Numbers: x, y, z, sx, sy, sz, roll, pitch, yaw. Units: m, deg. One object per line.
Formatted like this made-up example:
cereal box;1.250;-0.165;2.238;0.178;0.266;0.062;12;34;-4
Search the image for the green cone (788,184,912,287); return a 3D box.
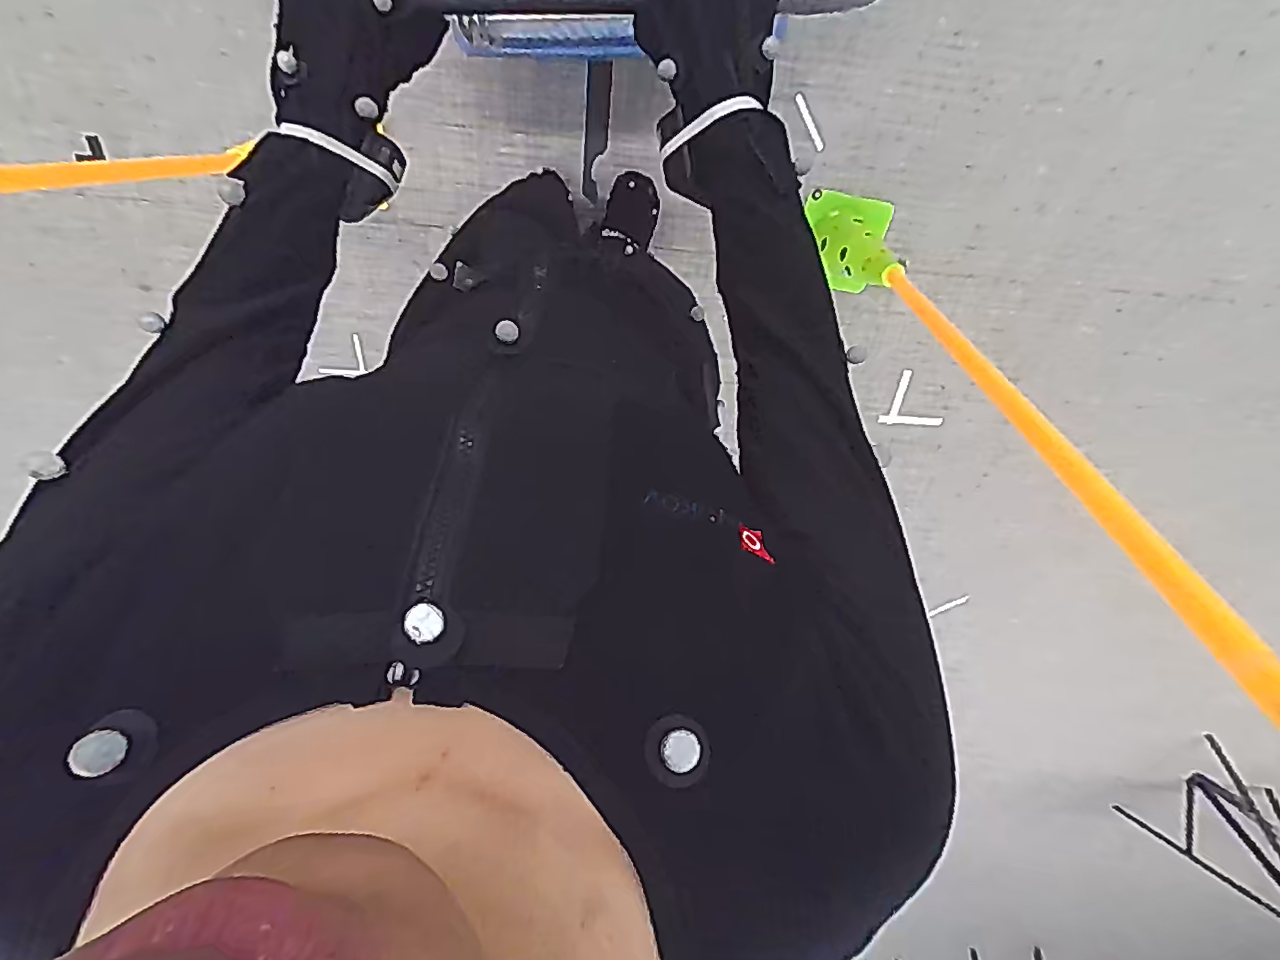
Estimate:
green cone;0.459;-0.466;1.108;0.202;0.368;0.200;8;123;-5
